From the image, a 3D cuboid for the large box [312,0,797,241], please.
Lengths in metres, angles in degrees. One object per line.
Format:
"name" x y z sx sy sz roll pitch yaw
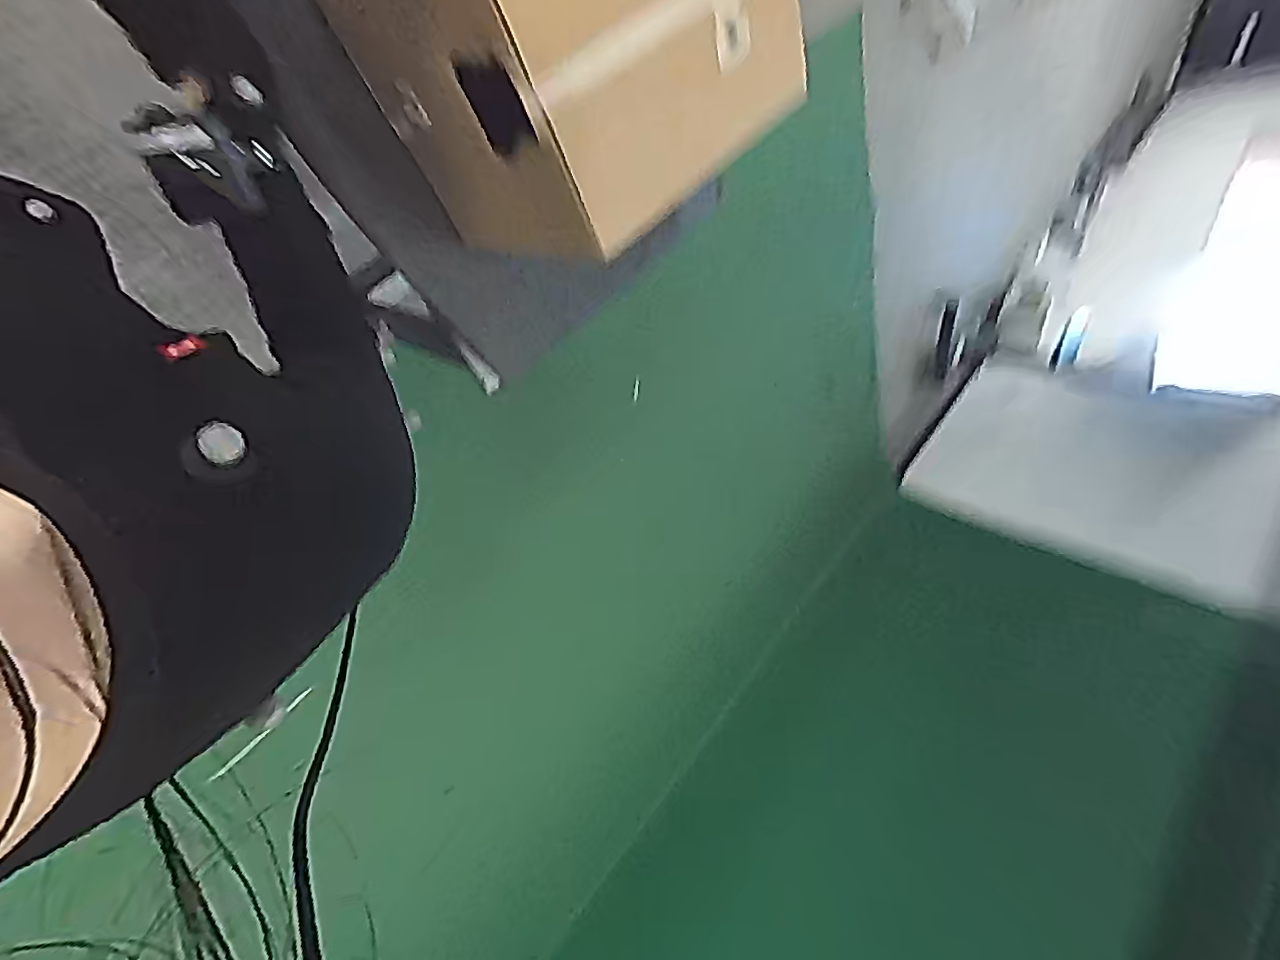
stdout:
"large box" -0.078 -0.528 0.625 0.408 0.320 0.320 -49 136 -20
